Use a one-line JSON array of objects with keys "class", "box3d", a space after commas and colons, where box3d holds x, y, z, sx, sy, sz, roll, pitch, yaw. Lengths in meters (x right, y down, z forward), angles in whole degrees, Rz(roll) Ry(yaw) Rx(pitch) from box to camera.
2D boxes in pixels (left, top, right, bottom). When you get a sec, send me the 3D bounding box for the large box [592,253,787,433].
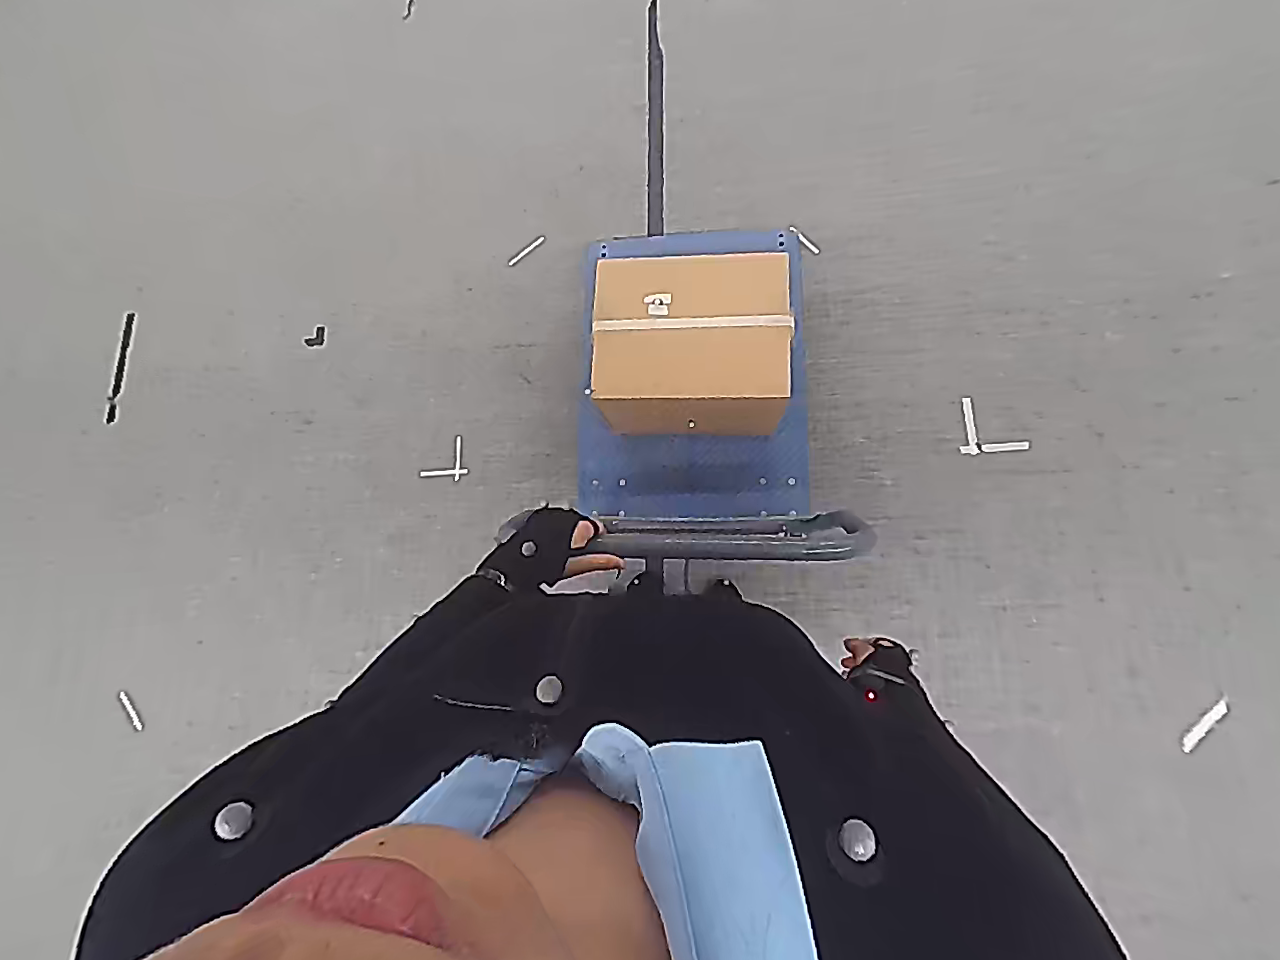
[{"class": "large box", "box3d": [0.122, -0.295, 1.269, 0.408, 0.320, 0.320, 0, 79, 9]}]
